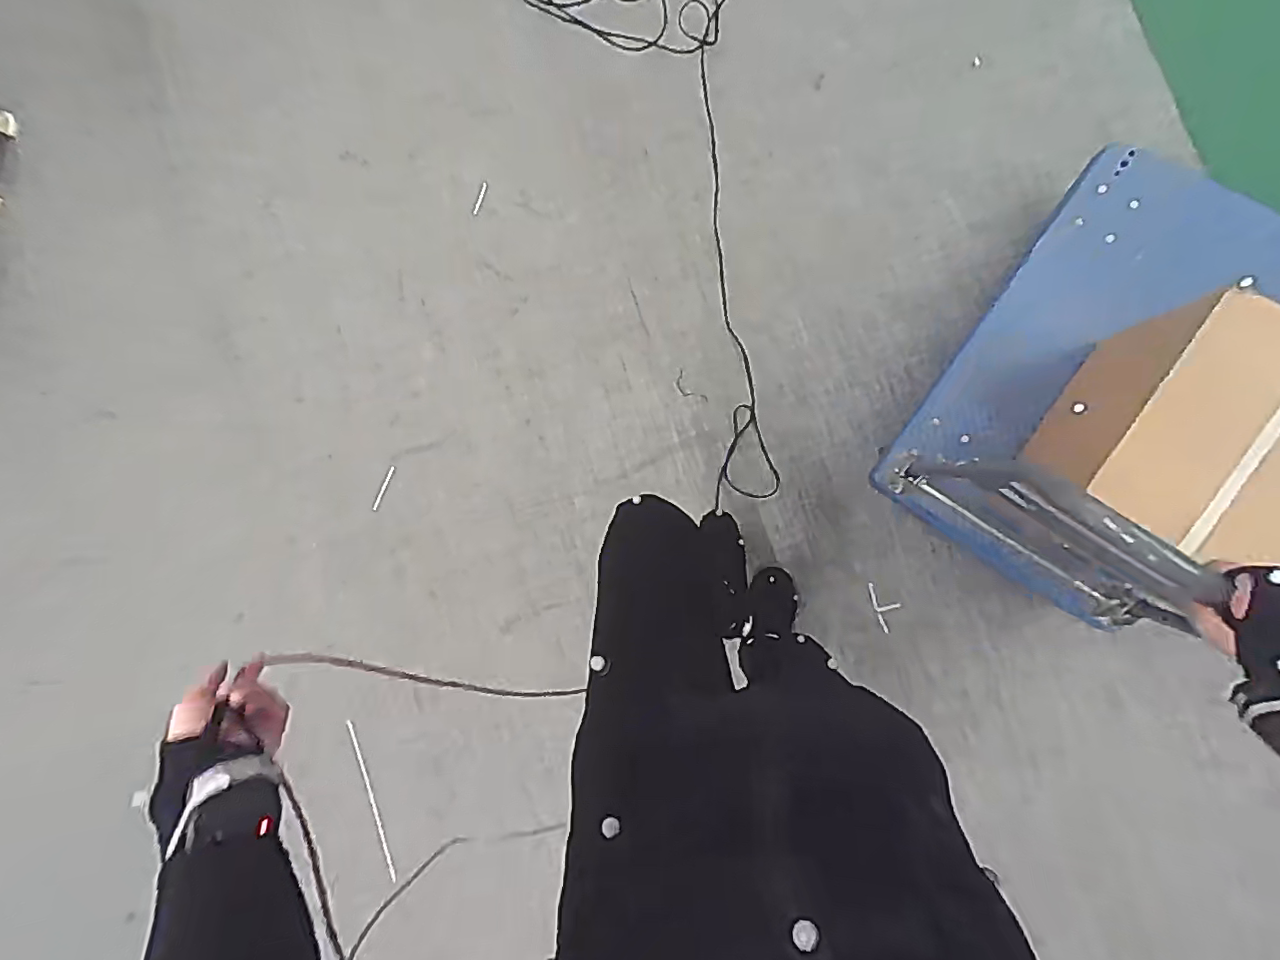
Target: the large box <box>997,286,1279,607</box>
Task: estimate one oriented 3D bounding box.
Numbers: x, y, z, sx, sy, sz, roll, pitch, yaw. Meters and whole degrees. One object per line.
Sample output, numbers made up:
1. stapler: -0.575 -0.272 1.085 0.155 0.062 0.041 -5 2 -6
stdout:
1. large box: 0.952 -0.046 0.966 0.320 0.320 0.408 33 93 9
